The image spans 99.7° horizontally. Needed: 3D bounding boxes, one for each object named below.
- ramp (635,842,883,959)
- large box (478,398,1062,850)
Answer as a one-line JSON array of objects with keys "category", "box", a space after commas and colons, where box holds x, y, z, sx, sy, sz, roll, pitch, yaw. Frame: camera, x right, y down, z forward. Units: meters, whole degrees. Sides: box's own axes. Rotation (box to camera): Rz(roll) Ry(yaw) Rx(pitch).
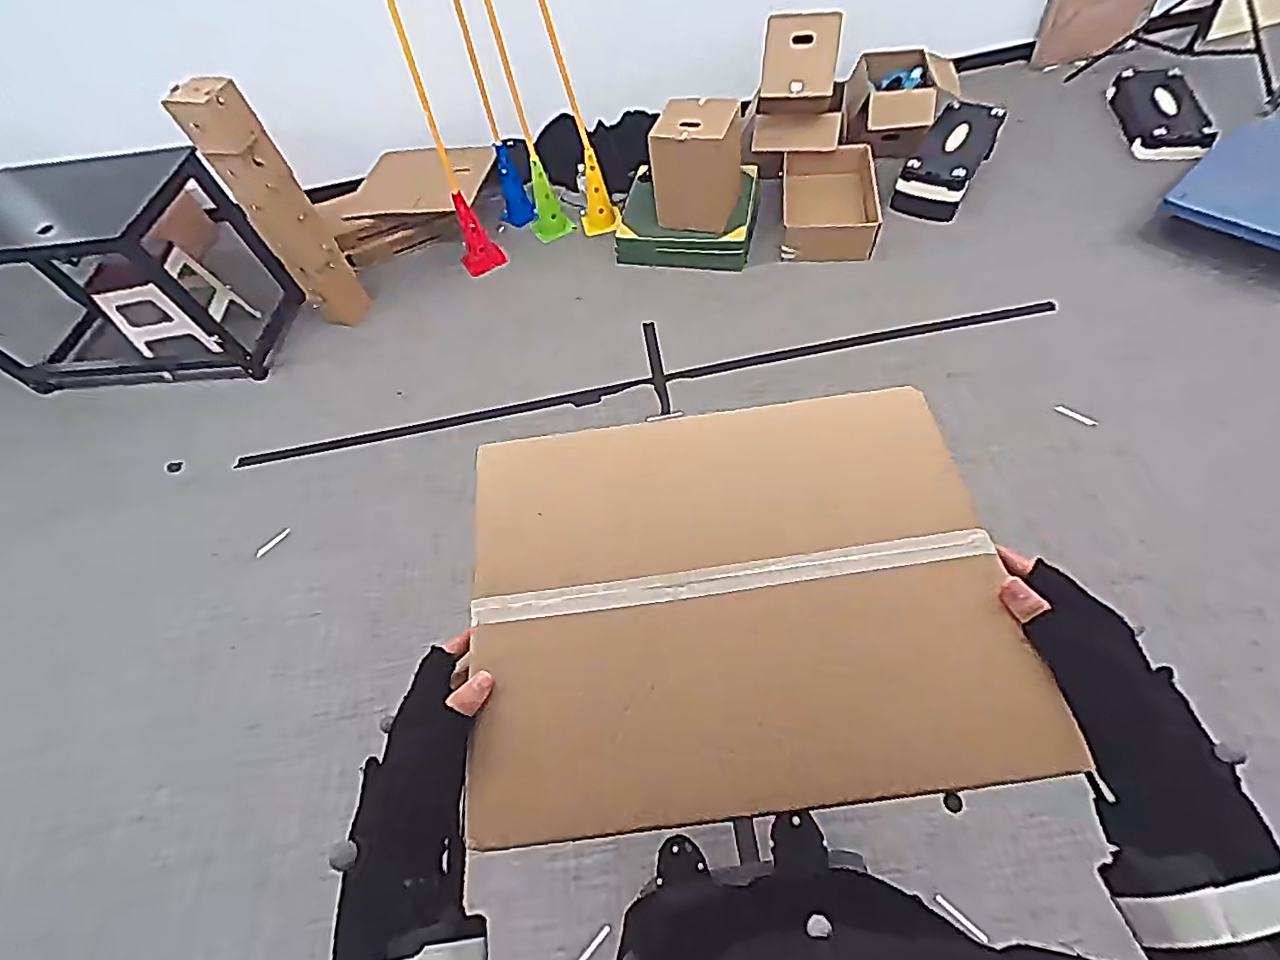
[{"category": "ramp", "box": [0.302, 1.290, 1.001, 0.509, 0.206, 0.991, -10, 58, -1]}, {"category": "large box", "box": [0.081, 0.153, 0.560, 0.408, 0.320, 0.320, -8, 61, 0]}]
